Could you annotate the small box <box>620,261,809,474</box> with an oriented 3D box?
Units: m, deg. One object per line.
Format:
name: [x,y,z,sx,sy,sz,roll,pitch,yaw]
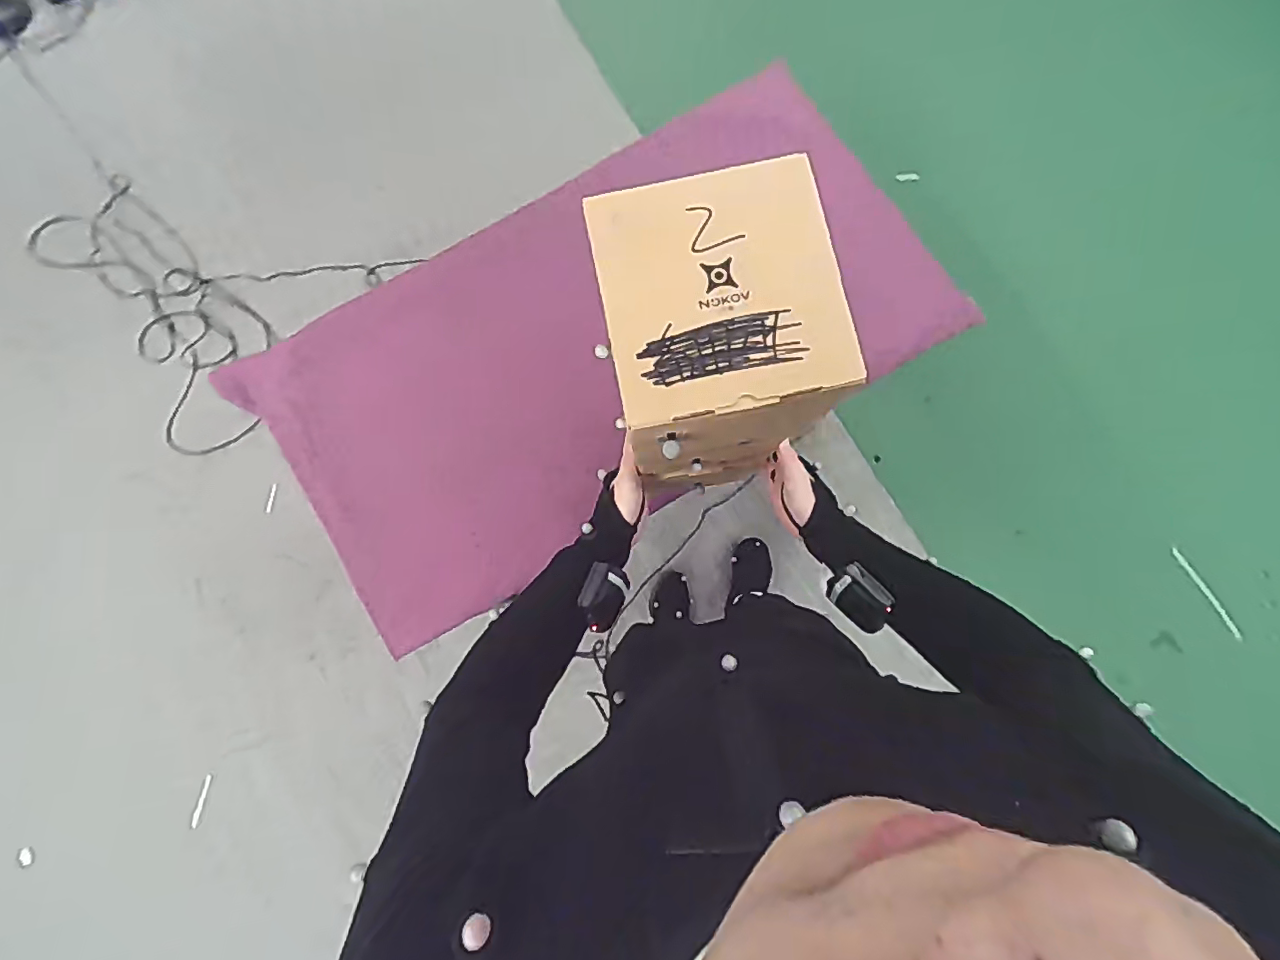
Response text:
small box: [0.072,-0.114,0.608,0.168,0.176,0.179,-9,83,0]

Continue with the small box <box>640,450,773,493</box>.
small box: [0.078,-0.086,0.768,0.168,0.176,0.179,-9,83,1]
